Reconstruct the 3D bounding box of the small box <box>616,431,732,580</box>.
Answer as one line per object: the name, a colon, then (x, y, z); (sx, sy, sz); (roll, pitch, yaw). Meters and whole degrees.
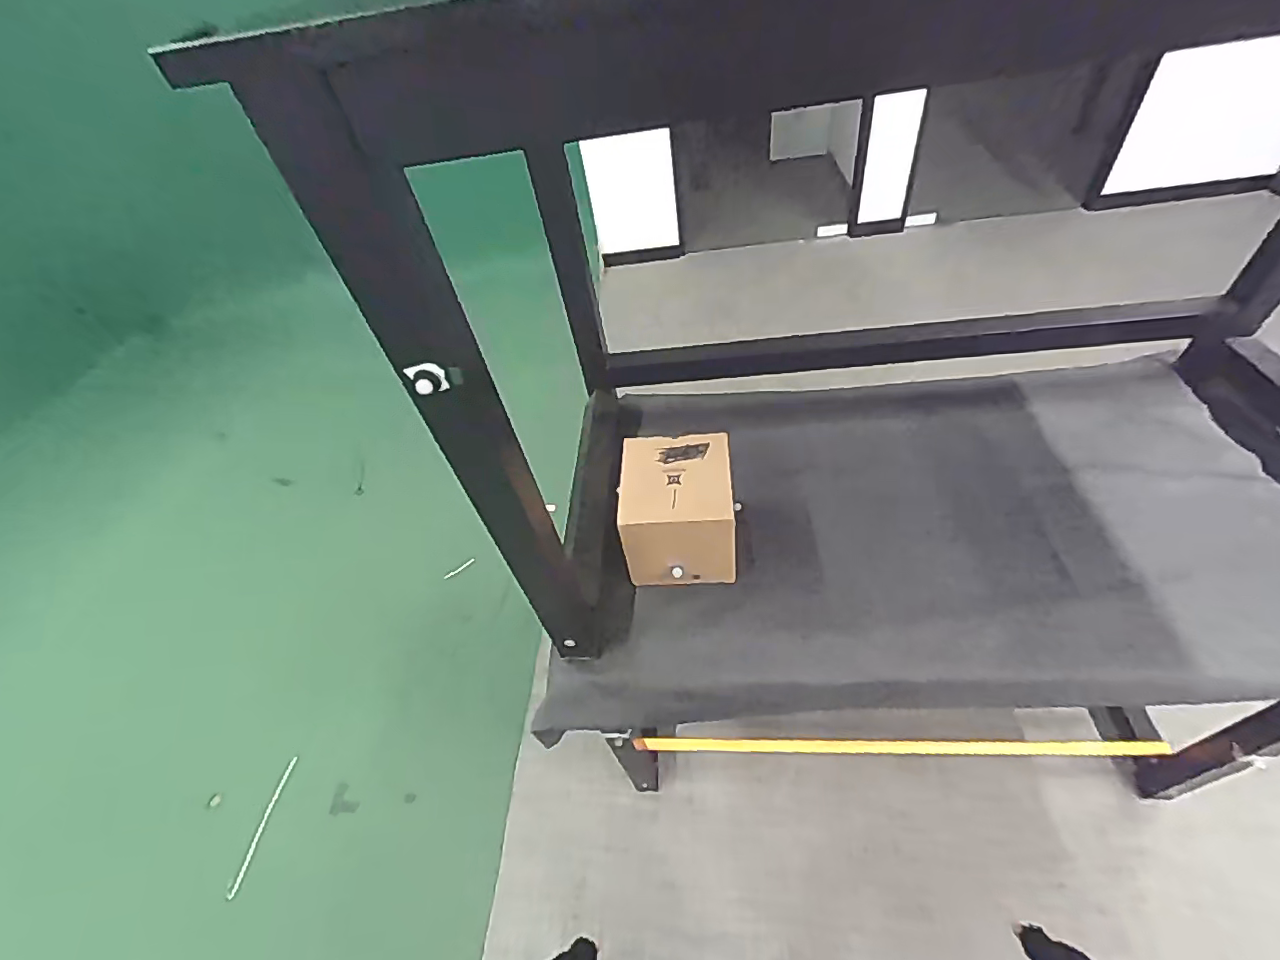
small box: (0.061, 0.043, 0.872); (0.168, 0.176, 0.179); (-3, 48, 8)
